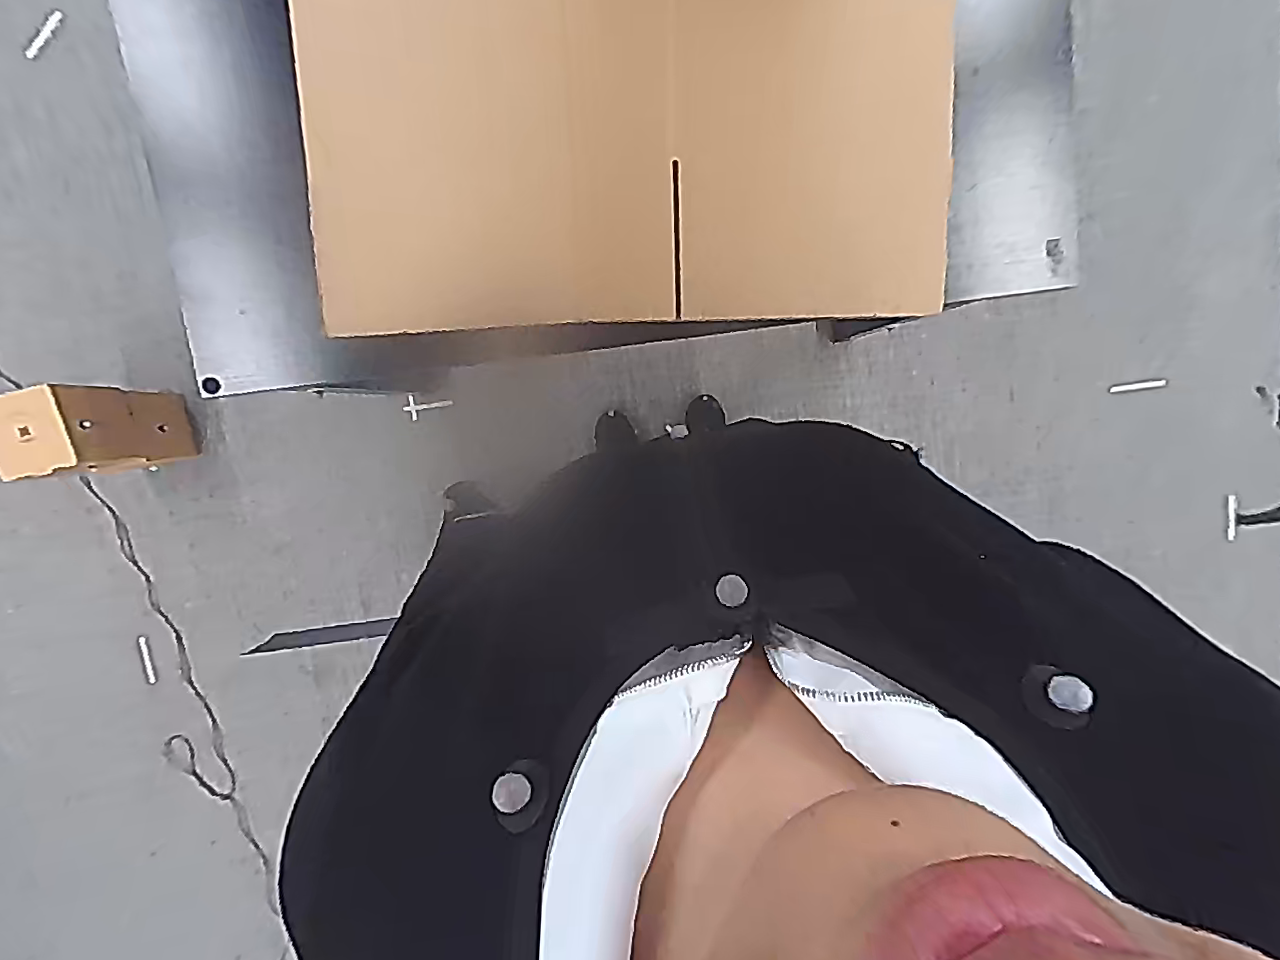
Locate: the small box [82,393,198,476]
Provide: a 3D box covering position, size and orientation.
[{"bbox_3d":[-1.276,-0.116,1.363,0.168,0.176,0.179,-11,98,0],"label":"small box"}]

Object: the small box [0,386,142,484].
[{"bbox_3d":[-1.274,-0.102,1.201,0.168,0.176,0.179,-15,96,-1],"label":"small box"}]
